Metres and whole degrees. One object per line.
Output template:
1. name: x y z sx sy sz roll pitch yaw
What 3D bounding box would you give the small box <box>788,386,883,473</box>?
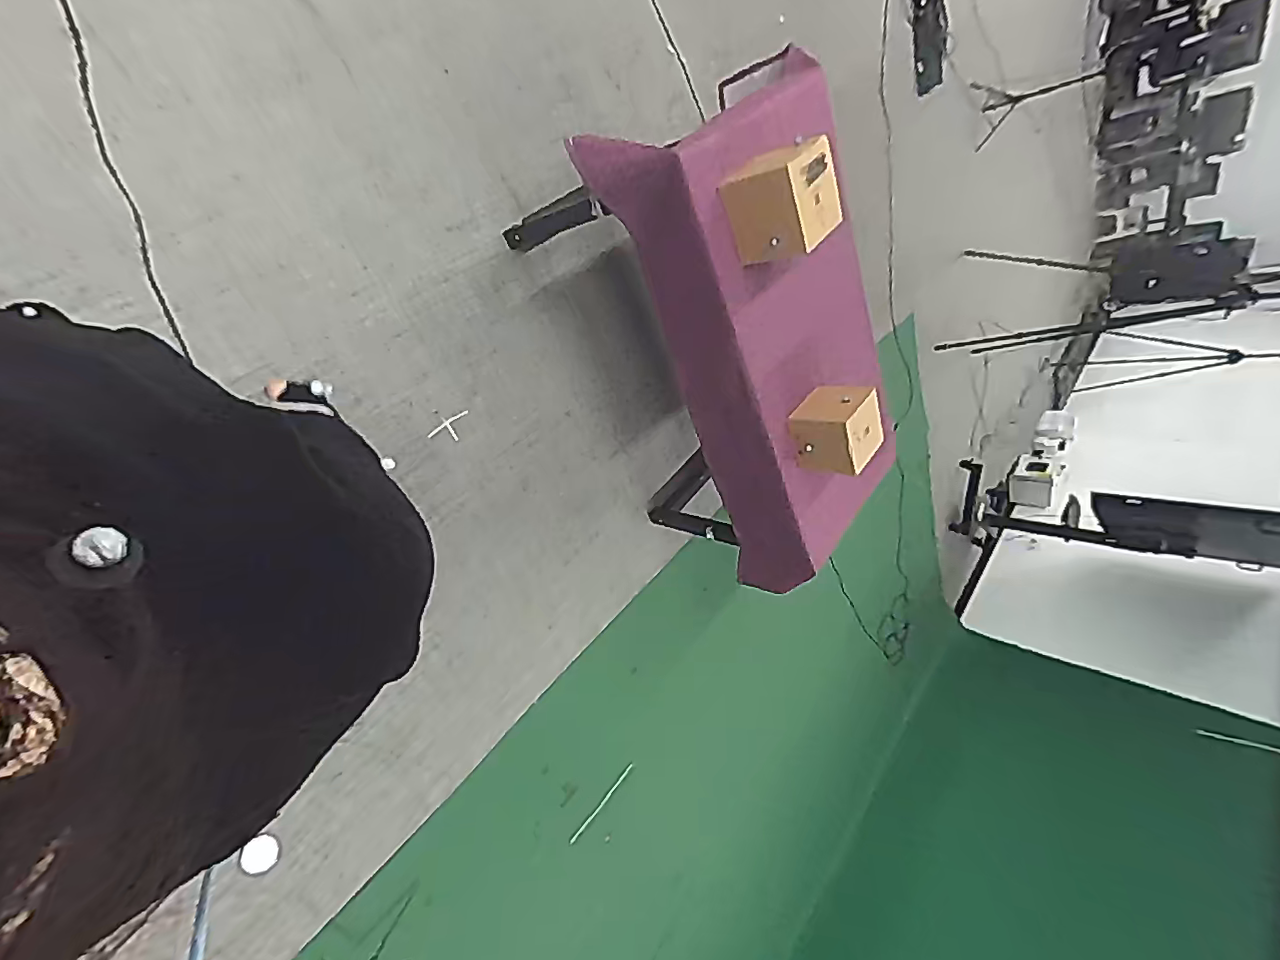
1. small box: 0.524 -0.142 1.448 0.179 0.176 0.168 -43 124 -29
